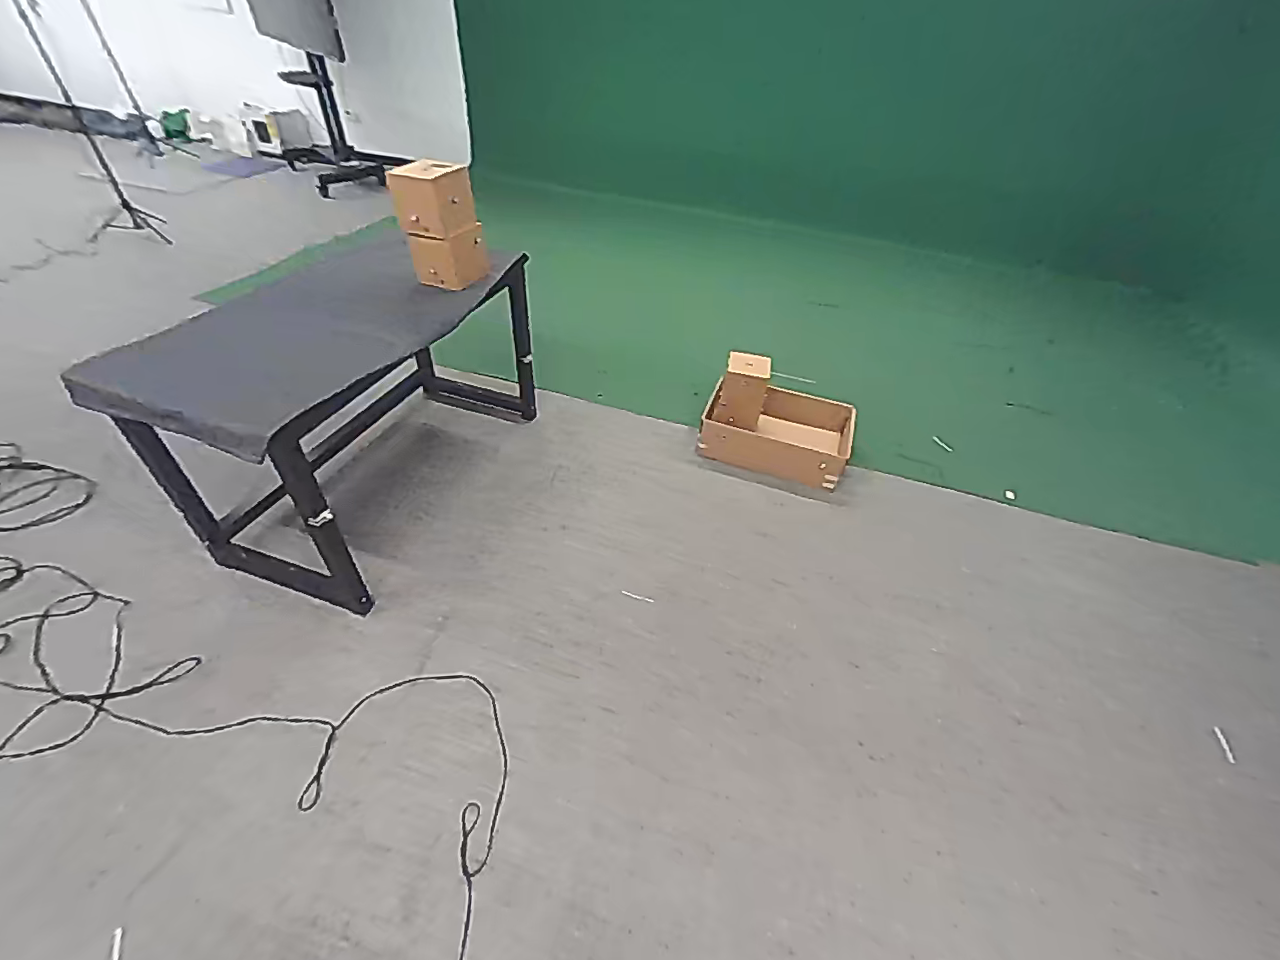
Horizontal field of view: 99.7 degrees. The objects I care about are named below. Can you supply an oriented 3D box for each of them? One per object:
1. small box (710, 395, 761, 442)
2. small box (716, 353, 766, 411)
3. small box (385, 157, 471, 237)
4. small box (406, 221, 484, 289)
[{"bbox_3d":[0.420,-0.292,2.407,0.179,0.176,0.168,17,44,13],"label":"small box"},{"bbox_3d":[0.428,-0.413,2.297,0.179,0.176,0.168,12,44,4],"label":"small box"},{"bbox_3d":[-0.639,-0.867,1.657,0.168,0.176,0.179,17,45,15],"label":"small box"},{"bbox_3d":[-0.631,-0.751,1.774,0.168,0.176,0.179,18,45,16],"label":"small box"}]
